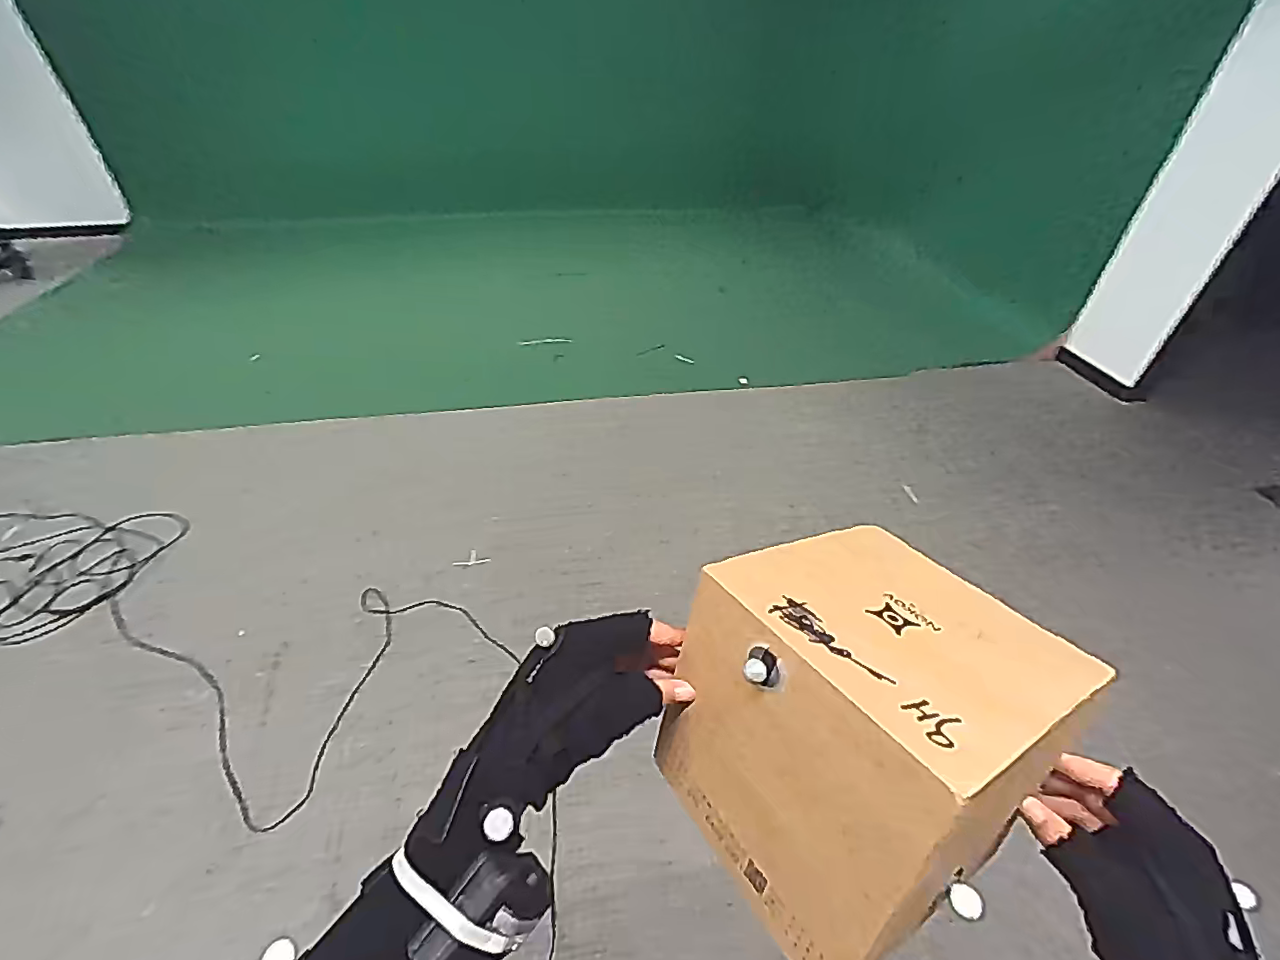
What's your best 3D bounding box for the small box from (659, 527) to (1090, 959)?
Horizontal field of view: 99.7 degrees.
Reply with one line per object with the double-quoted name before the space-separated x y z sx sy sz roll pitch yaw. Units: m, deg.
"small box" 0.135 0.153 0.356 0.179 0.176 0.168 -6 29 -34
